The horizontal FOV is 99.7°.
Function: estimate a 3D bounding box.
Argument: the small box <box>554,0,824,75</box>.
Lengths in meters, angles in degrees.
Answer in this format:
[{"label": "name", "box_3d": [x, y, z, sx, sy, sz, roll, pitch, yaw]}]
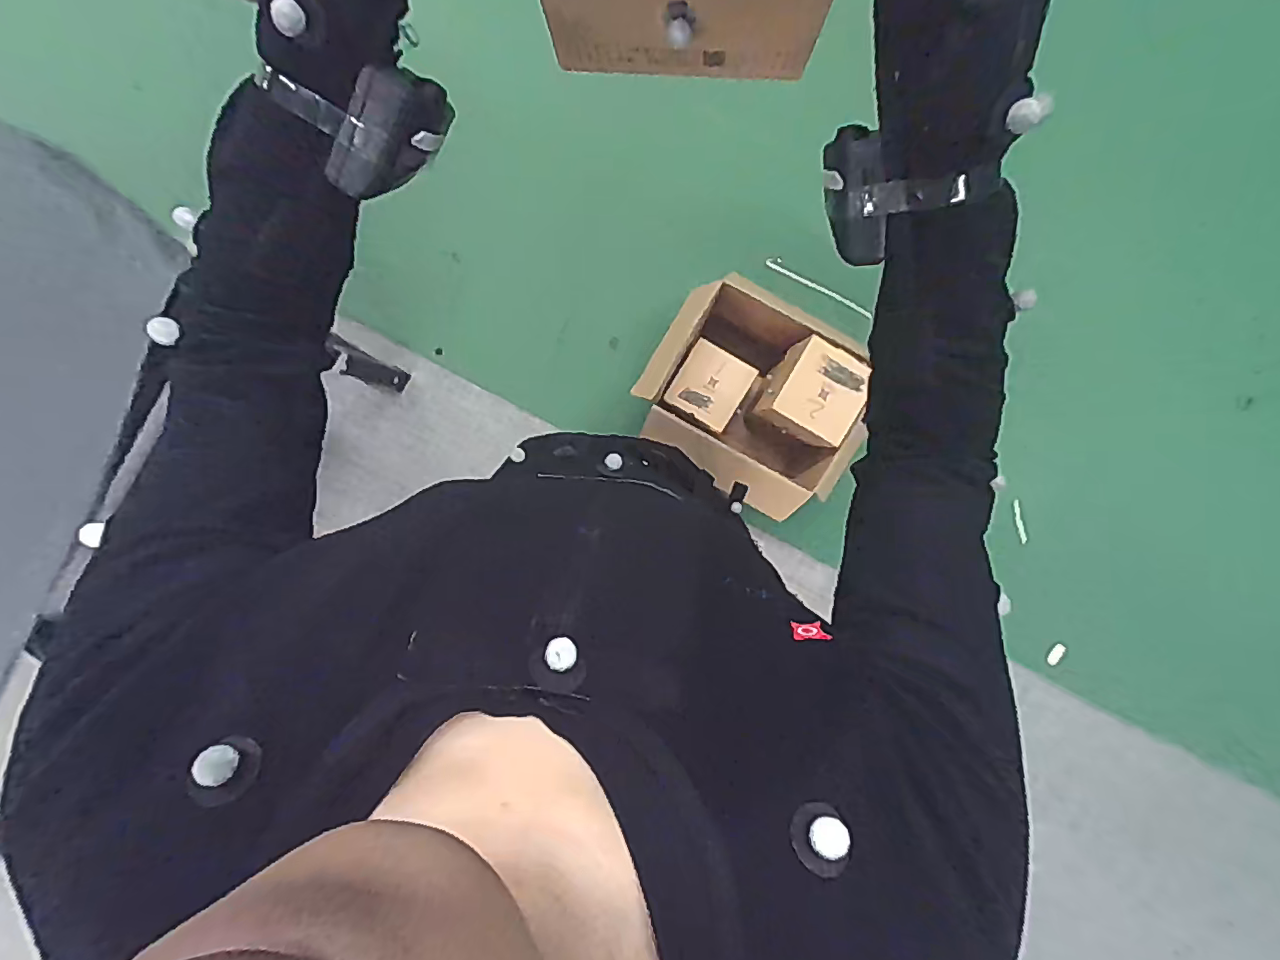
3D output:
[{"label": "small box", "box_3d": [0.028, -0.357, 0.277, 0.168, 0.176, 0.179, 3, 95, 2]}]
